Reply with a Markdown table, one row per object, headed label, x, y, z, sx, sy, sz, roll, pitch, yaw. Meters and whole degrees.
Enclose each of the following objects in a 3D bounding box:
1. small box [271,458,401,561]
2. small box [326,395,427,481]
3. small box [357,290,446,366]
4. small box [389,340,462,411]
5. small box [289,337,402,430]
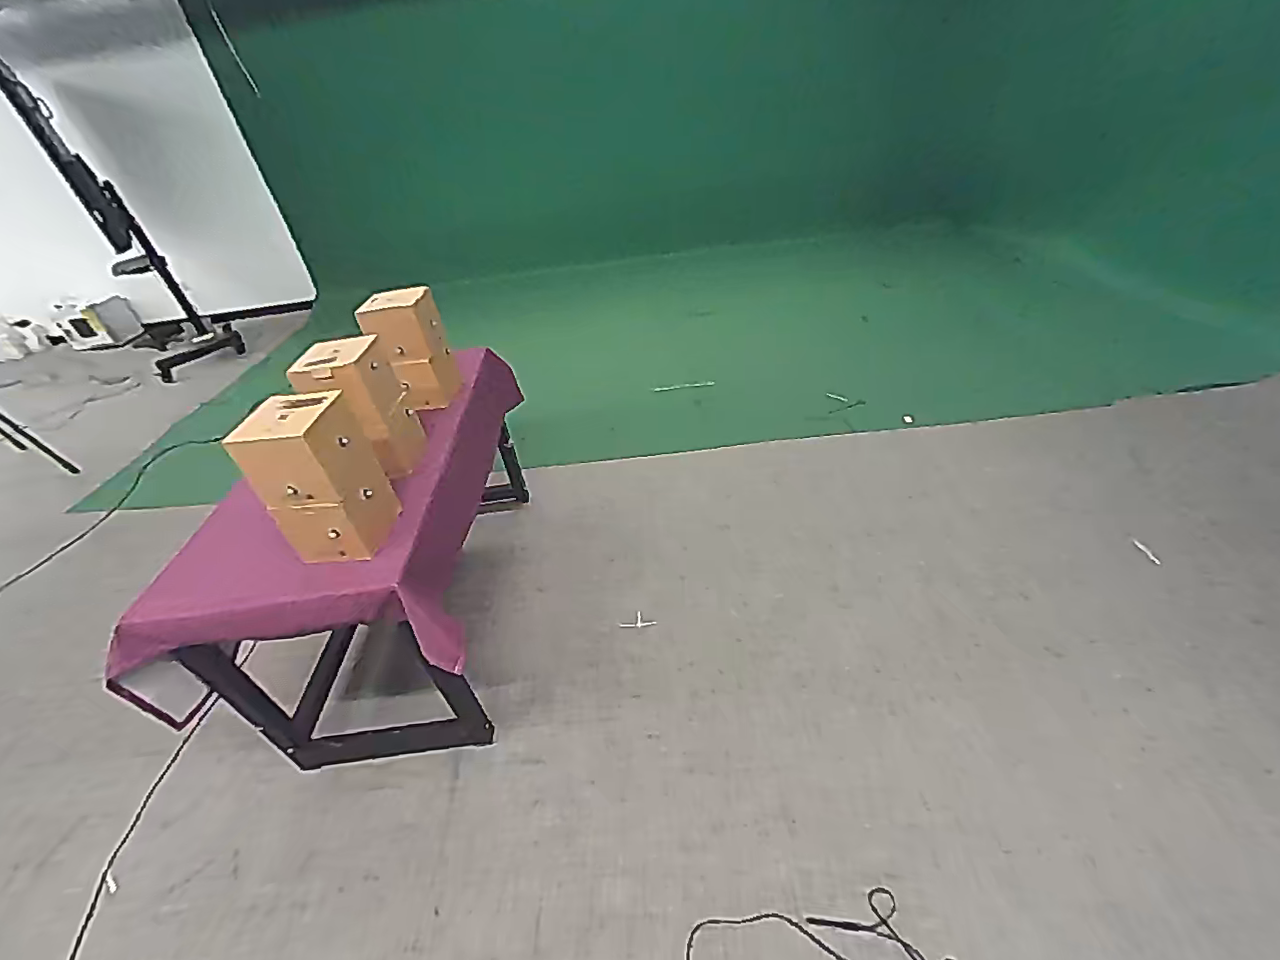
| label | x | y | z | sx | sy | sz | roll | pitch | yaw |
| --- | --- | --- | --- | --- | --- | --- | --- | --- | --- |
| small box | -0.675 | 0.072 | 1.229 | 0.168 | 0.176 | 0.179 | -4 | 37 | 7 |
| small box | -0.702 | -0.110 | 1.467 | 0.168 | 0.176 | 0.179 | -7 | 37 | 5 |
| small box | -0.721 | -0.464 | 1.659 | 0.179 | 0.176 | 0.168 | -6 | 37 | 4 |
| small box | -0.699 | -0.334 | 1.756 | 0.168 | 0.176 | 0.179 | -4 | 37 | 7 |
| small box | -0.731 | -0.238 | 1.367 | 0.168 | 0.176 | 0.179 | -8 | 37 | 2 |
